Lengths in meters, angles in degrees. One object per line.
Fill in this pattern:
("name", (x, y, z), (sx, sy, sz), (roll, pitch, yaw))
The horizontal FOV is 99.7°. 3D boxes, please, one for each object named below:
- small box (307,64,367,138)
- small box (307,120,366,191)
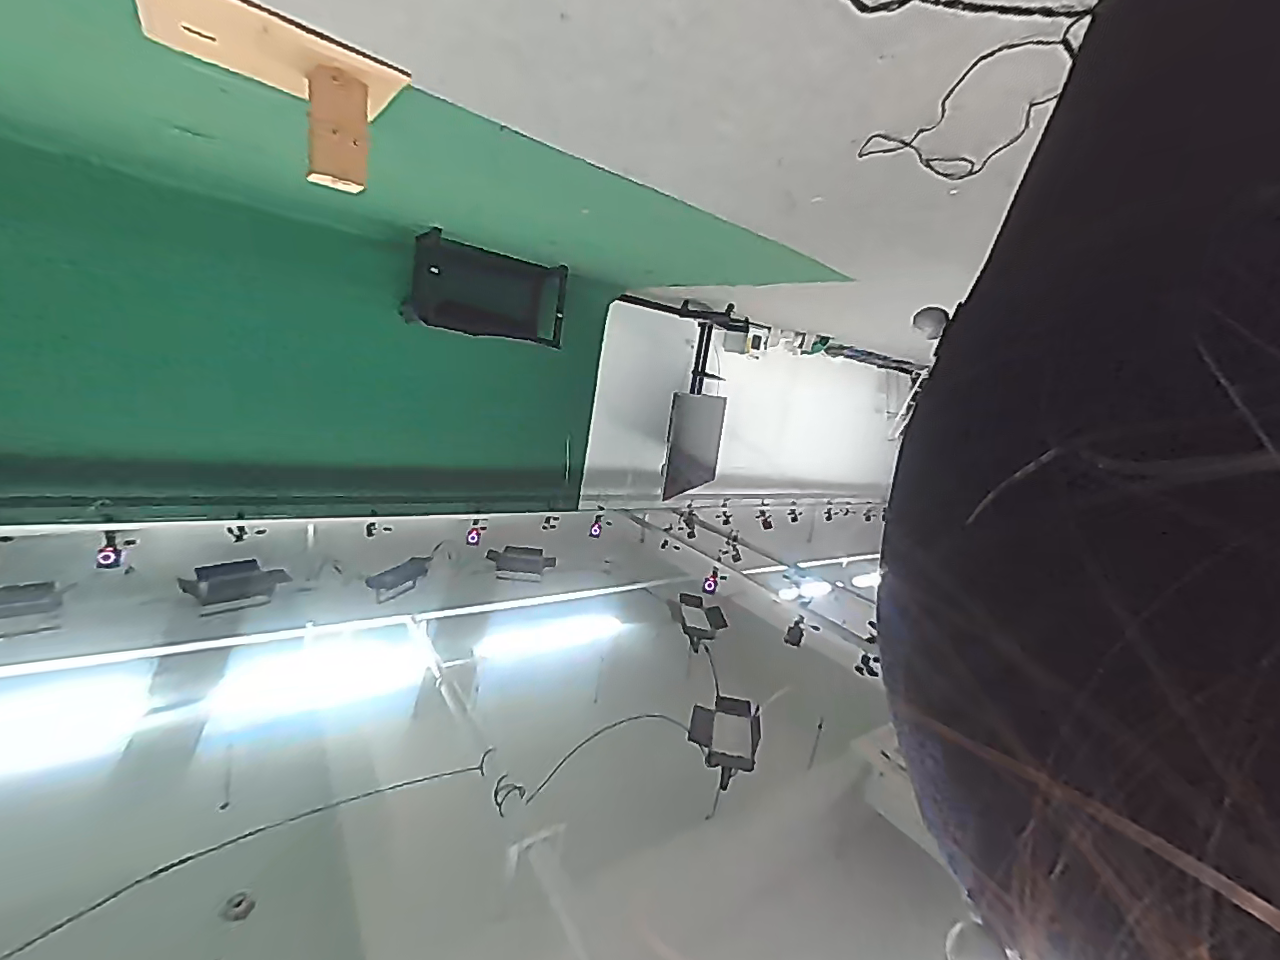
("small box", (-1.080, -1.336, 1.930), (0.168, 0.176, 0.179), (-1, -165, -37))
("small box", (-1.105, -1.177, 1.965), (0.168, 0.176, 0.179), (-1, -164, -39))
